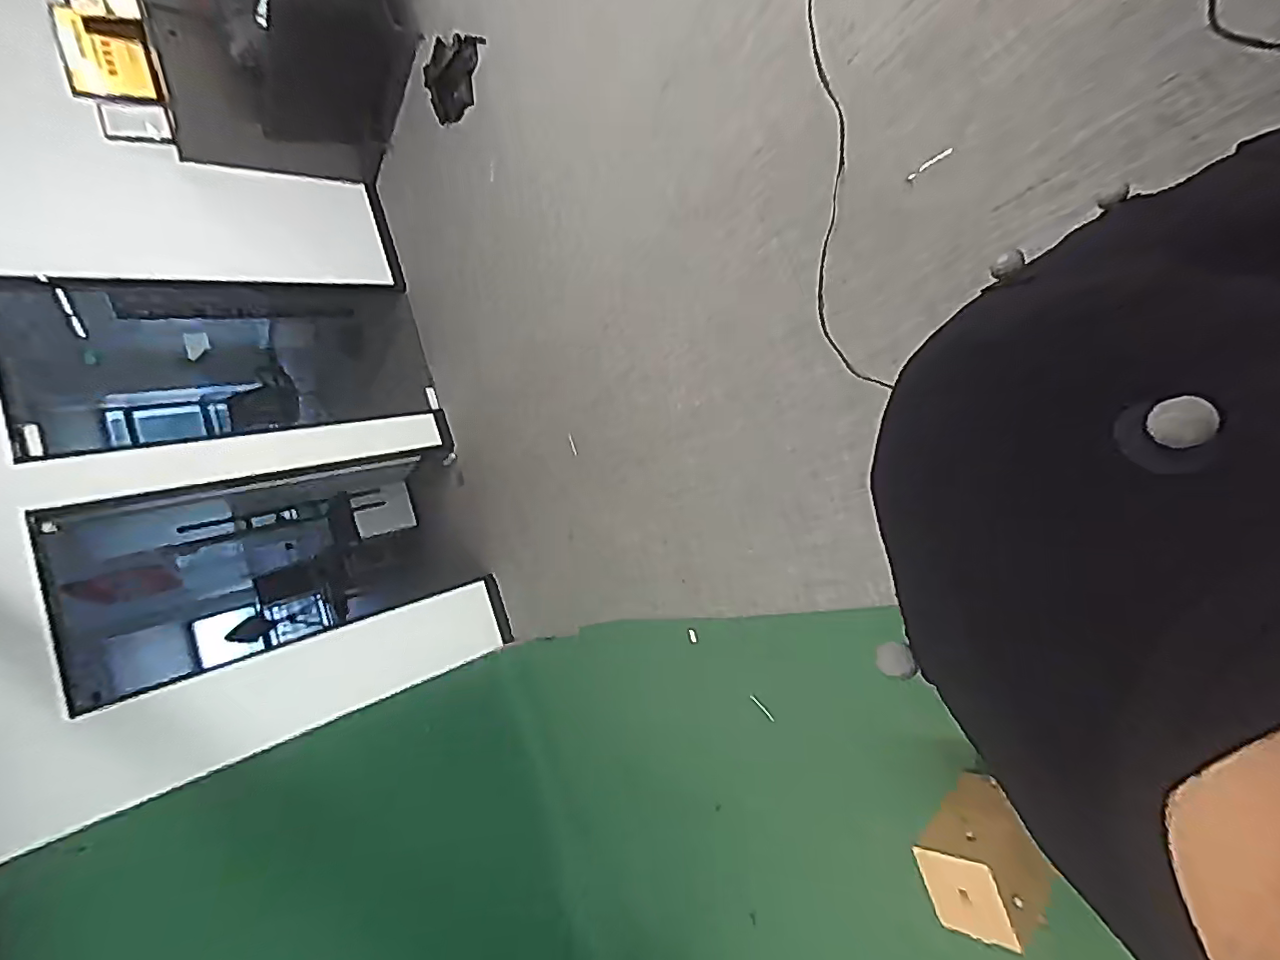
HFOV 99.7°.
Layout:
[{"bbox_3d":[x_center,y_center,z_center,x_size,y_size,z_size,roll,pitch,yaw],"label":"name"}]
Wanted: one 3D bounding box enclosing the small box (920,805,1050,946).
[{"bbox_3d":[0.765,0.860,1.200,0.168,0.176,0.179,-29,80,50],"label":"small box"}]
